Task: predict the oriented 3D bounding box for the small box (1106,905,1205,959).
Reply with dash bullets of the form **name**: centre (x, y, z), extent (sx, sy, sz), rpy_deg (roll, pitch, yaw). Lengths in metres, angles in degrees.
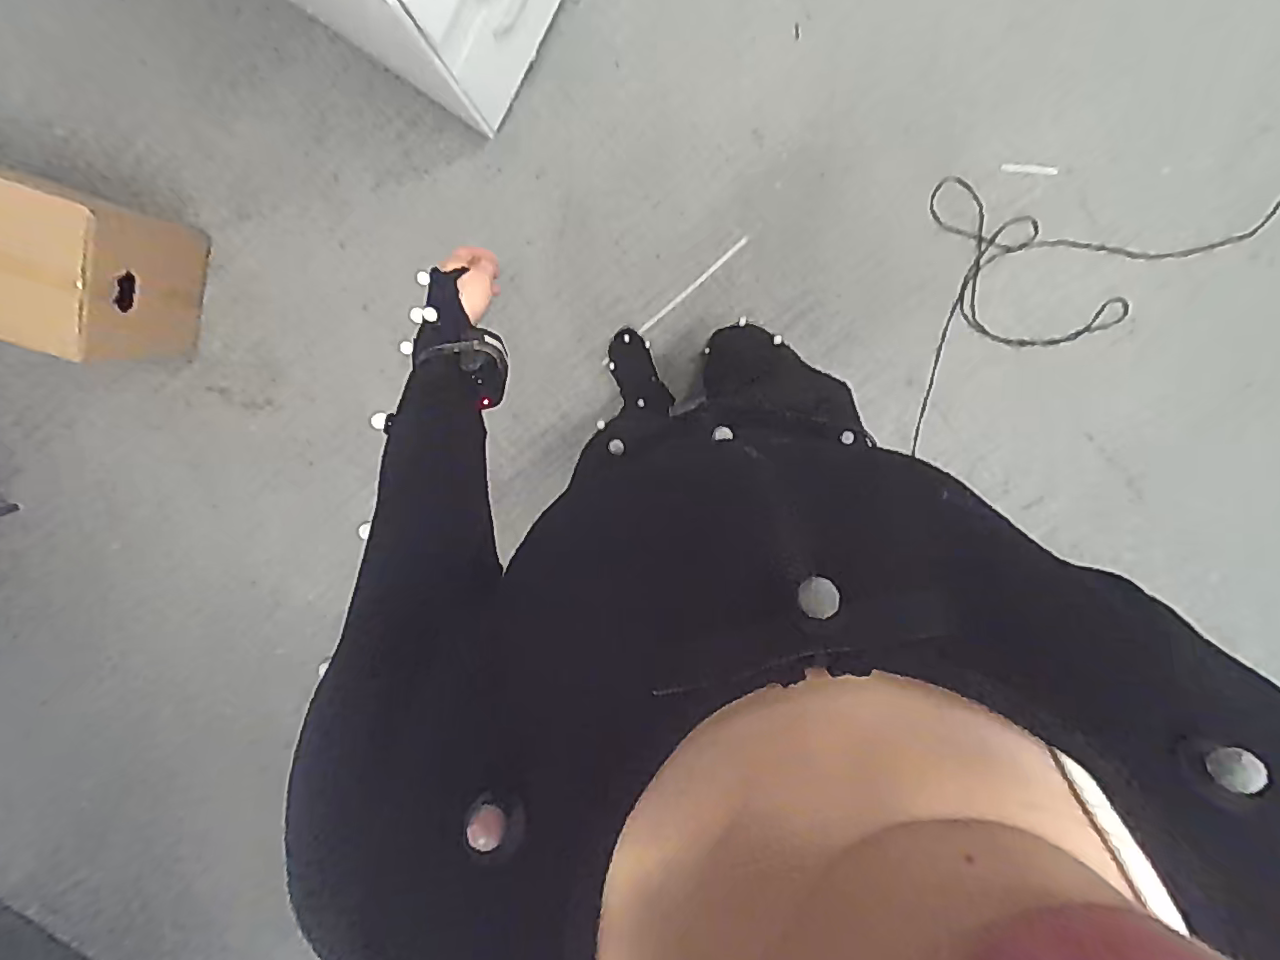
- **small box**: centre (1.543, 1.407, 1.592), extent (0.168, 0.176, 0.179), rpy_deg (-41, 100, 10)
